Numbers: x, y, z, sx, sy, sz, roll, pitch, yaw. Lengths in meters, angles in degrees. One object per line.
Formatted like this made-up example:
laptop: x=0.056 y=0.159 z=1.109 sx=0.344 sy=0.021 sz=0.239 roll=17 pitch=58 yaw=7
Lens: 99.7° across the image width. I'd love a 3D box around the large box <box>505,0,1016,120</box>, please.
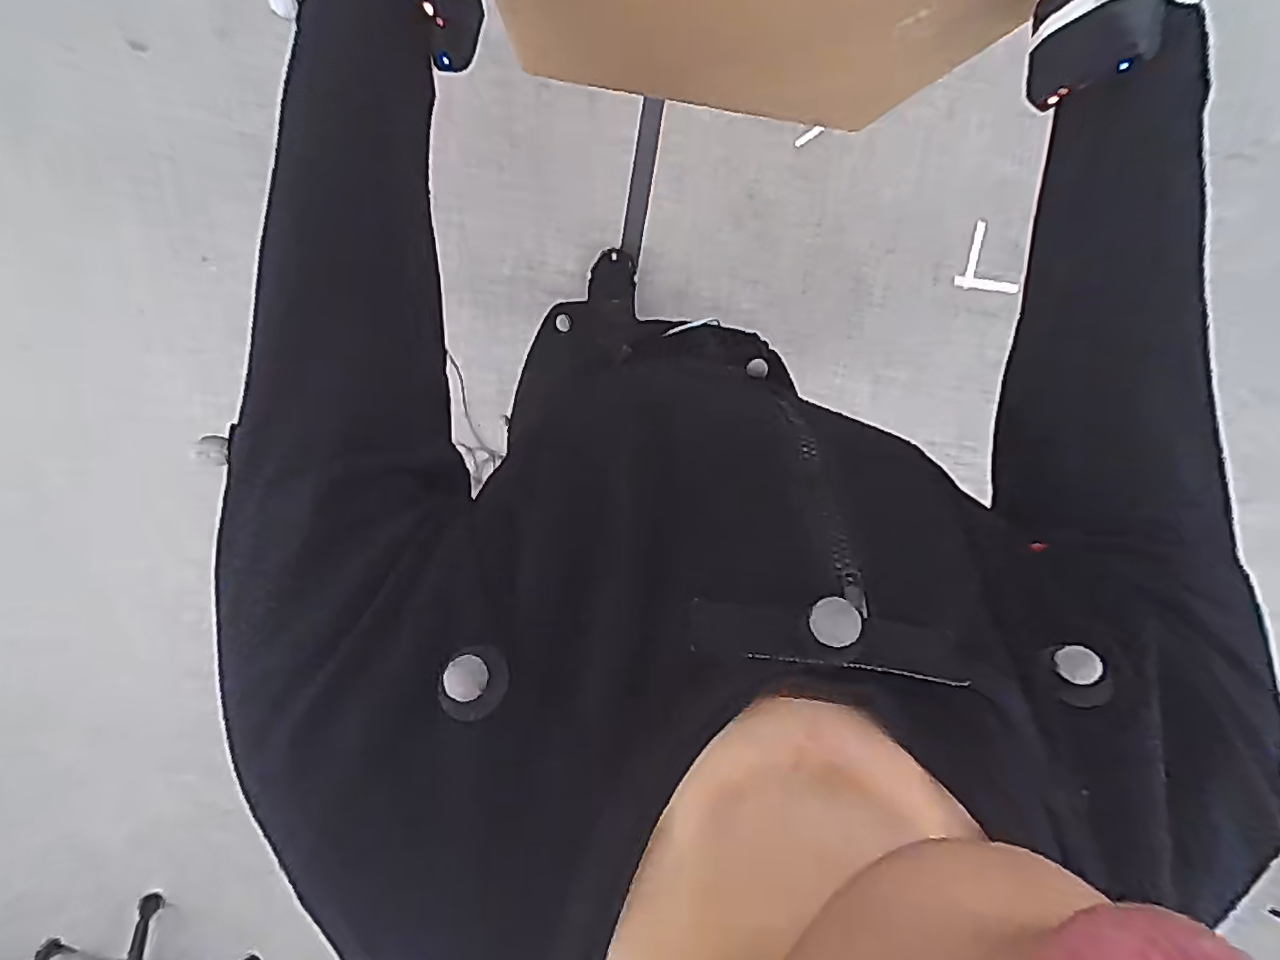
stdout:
large box: x=0.090 y=-0.546 z=0.447 sx=0.408 sy=0.320 sz=0.320 roll=6 pitch=109 yaw=-6
